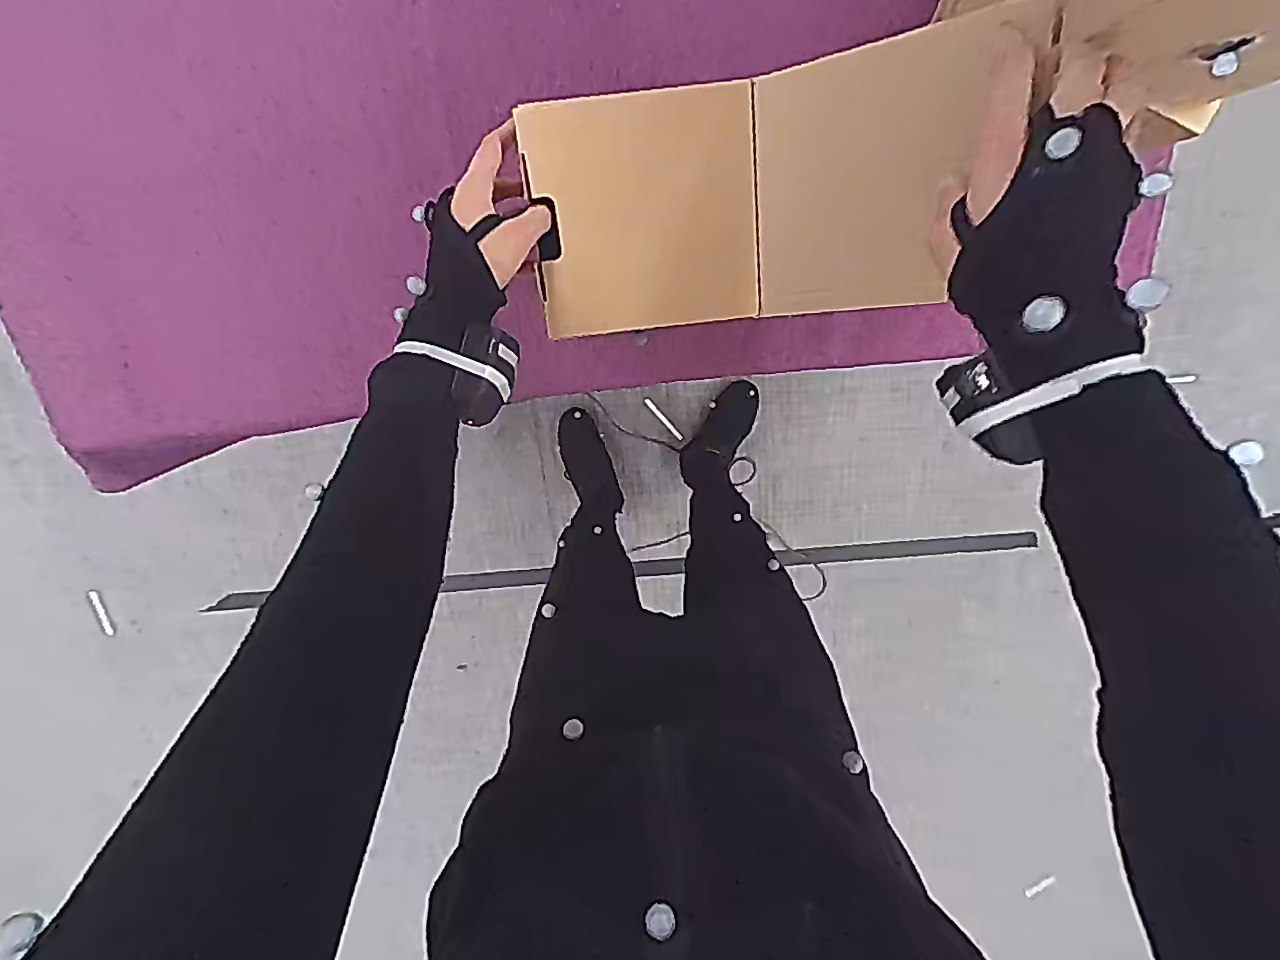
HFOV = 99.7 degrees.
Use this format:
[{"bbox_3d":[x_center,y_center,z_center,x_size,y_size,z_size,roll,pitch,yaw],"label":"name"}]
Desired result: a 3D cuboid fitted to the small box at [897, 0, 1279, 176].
[{"bbox_3d":[0.356,-0.374,0.441,0.179,0.176,0.168,19,106,-7],"label":"small box"}]
